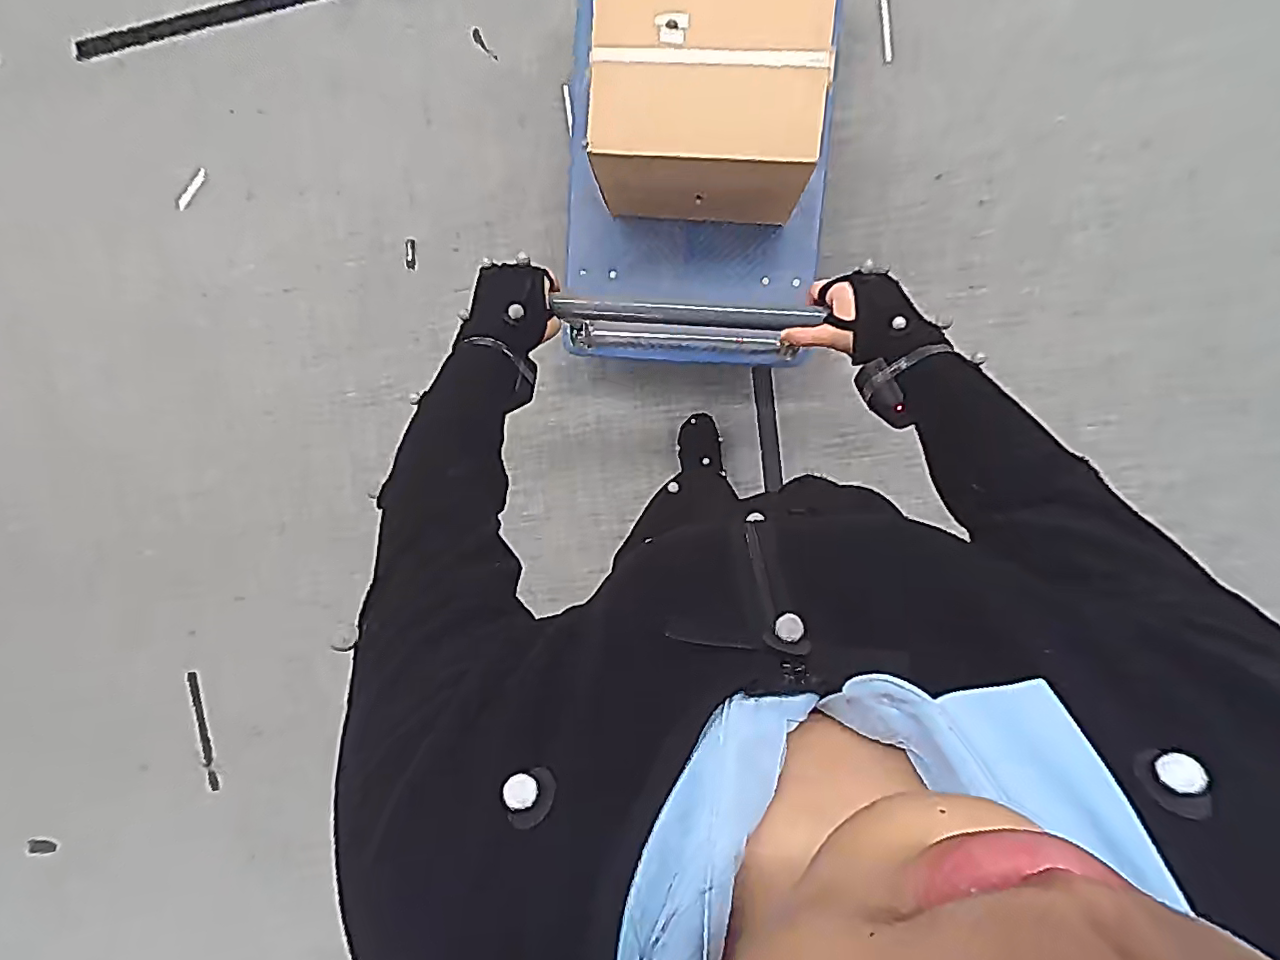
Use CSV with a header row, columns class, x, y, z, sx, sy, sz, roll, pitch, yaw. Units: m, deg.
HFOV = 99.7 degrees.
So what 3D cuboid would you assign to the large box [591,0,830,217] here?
class,x,y,z,sx,sy,sz,roll,pitch,yaw
large box,0.134,-0.741,1.083,0.408,0.320,0.320,5,96,5
